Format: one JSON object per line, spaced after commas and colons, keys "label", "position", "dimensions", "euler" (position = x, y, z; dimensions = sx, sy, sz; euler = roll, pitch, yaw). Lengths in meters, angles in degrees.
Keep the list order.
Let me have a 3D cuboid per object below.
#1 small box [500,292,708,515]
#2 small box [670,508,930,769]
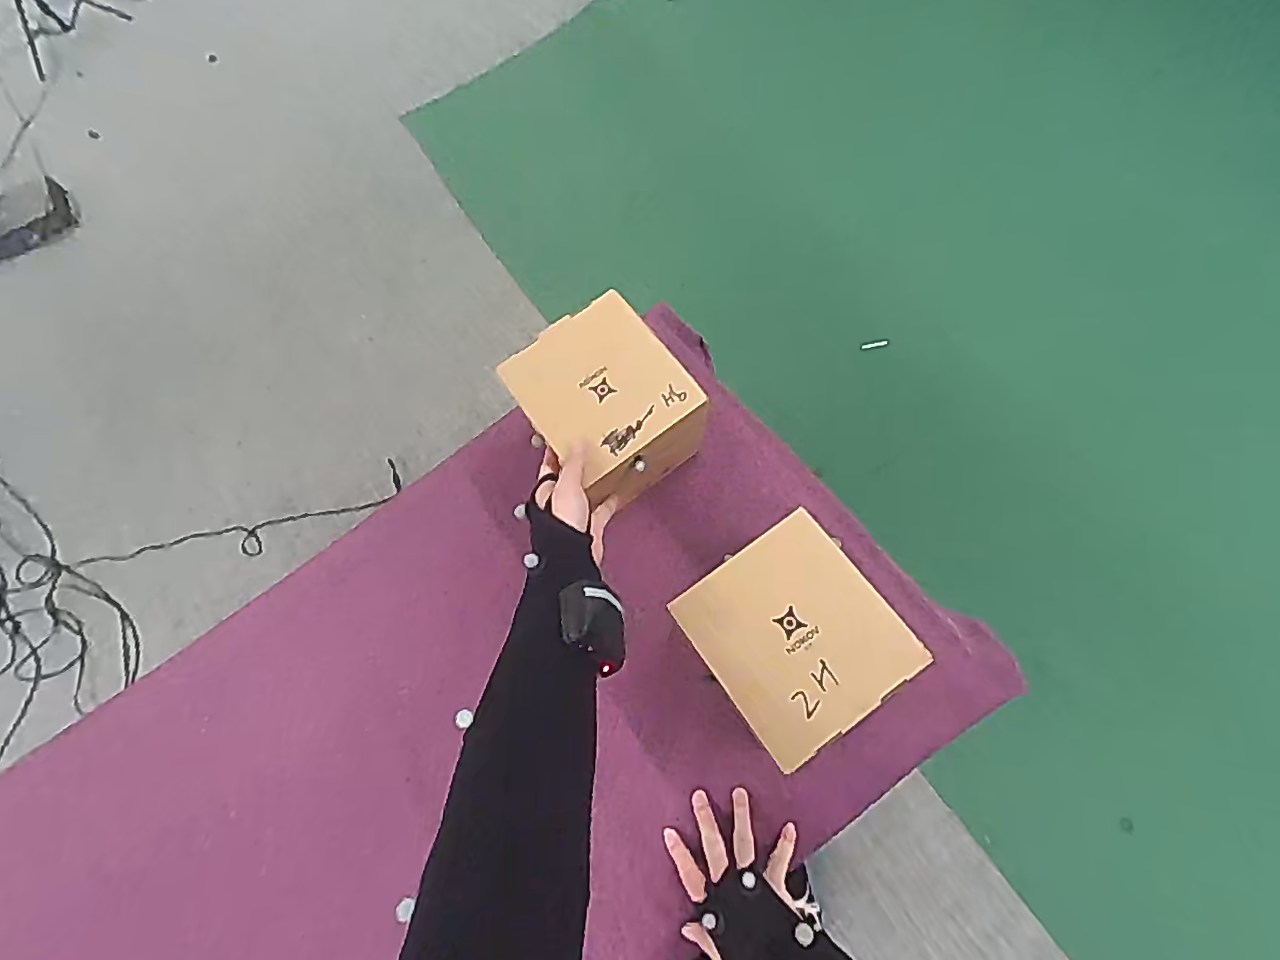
{"label": "small box", "position": [-0.037, -0.081, 0.659], "dimensions": [0.168, 0.176, 0.179], "euler": [-36, 75, -6]}
{"label": "small box", "position": [0.148, 0.162, 0.564], "dimensions": [0.168, 0.176, 0.179], "euler": [-35, 71, -5]}
